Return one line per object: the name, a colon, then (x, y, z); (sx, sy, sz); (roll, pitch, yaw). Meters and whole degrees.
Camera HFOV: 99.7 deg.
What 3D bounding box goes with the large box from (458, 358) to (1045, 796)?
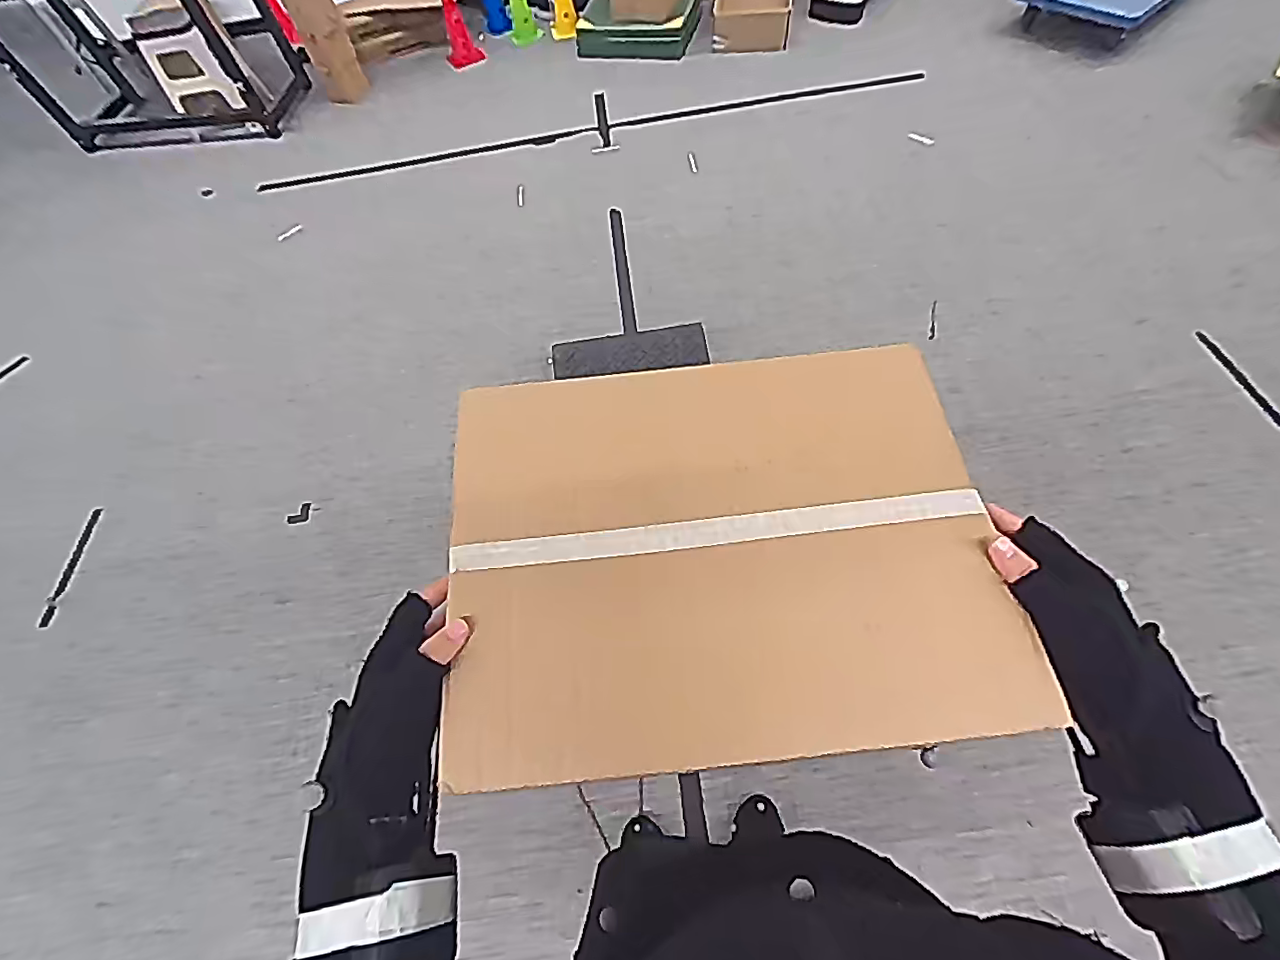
large box: (0.068, 0.111, 0.554); (0.408, 0.320, 0.320); (-6, 63, -1)
